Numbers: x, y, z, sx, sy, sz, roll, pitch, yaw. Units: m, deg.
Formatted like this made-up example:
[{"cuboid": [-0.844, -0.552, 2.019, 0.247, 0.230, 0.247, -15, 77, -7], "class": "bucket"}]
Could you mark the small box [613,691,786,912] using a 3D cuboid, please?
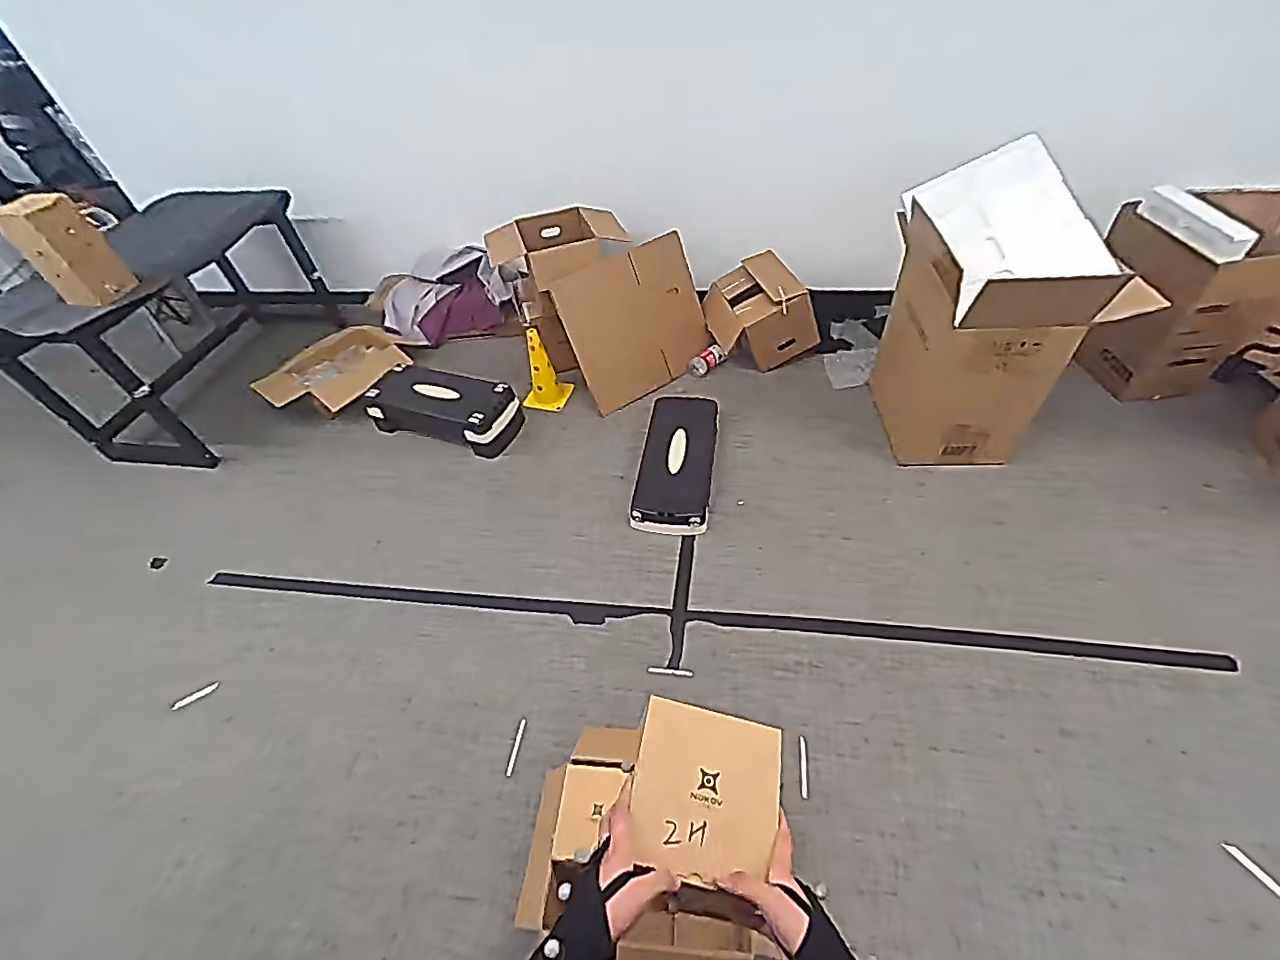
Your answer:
[{"cuboid": [0.068, 0.390, 0.654, 0.168, 0.176, 0.179, 13, 48, 4], "class": "small box"}]
